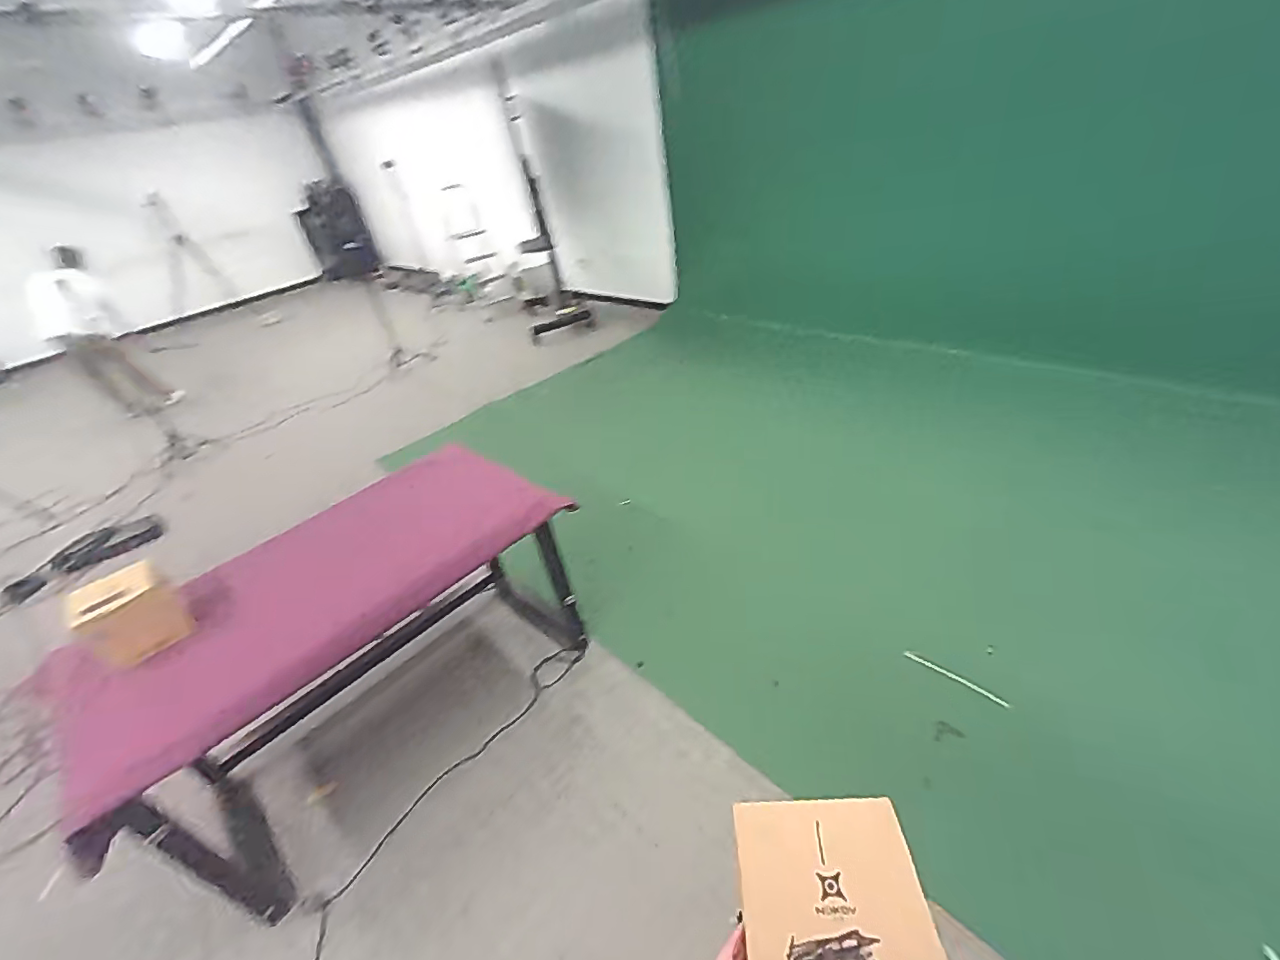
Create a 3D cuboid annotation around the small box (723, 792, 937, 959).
[{"bbox_3d":[0.178,0.447,0.540,0.168,0.176,0.179,-6,32,4],"label":"small box"}]
